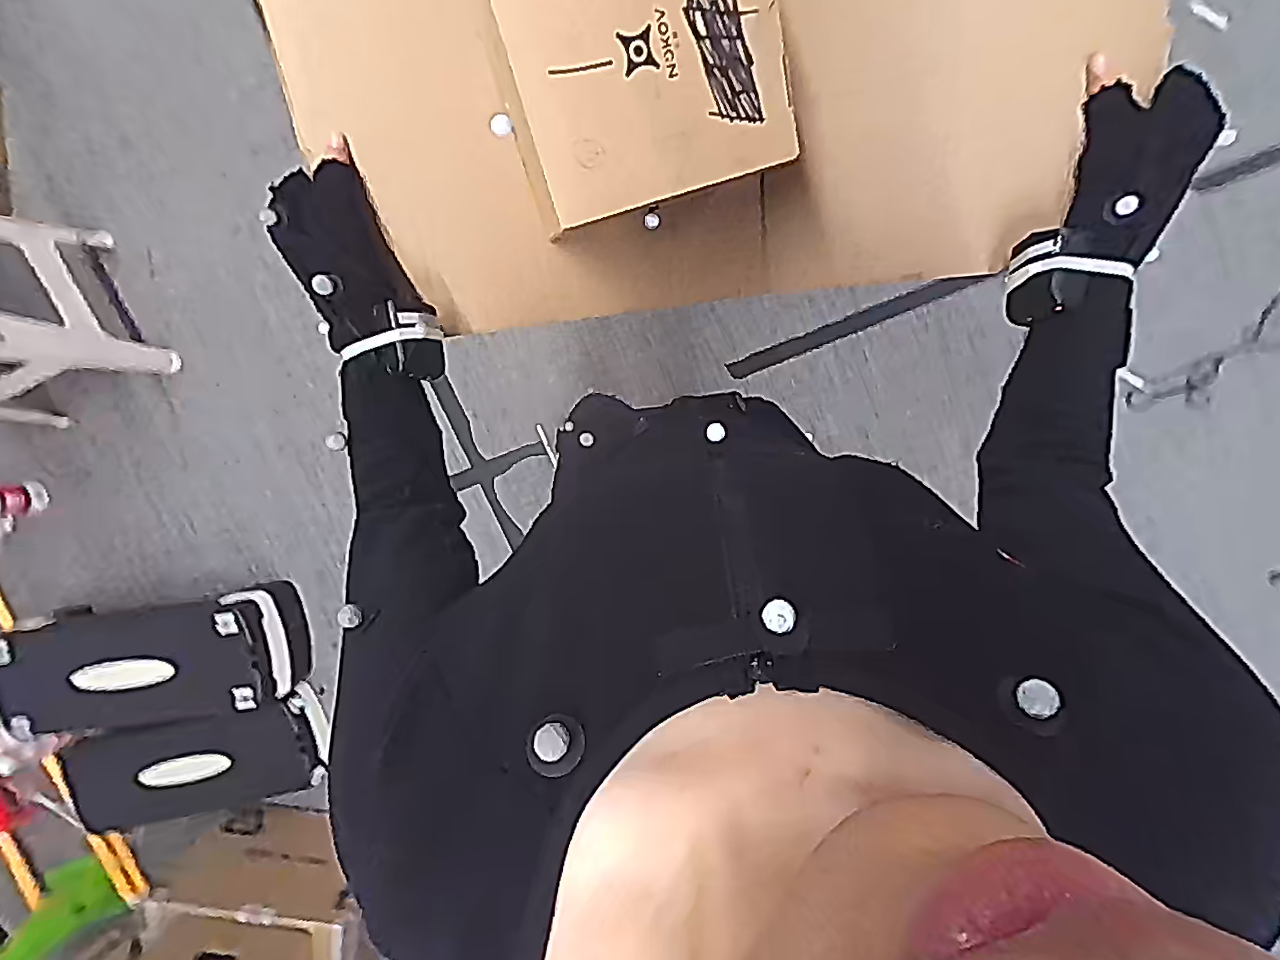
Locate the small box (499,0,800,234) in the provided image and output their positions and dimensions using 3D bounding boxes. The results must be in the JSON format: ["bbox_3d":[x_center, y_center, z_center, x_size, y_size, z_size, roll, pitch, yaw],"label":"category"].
[{"bbox_3d":[-0.002,-0.300,0.417,0.179,0.176,0.168,-18,114,-5],"label":"small box"}]
